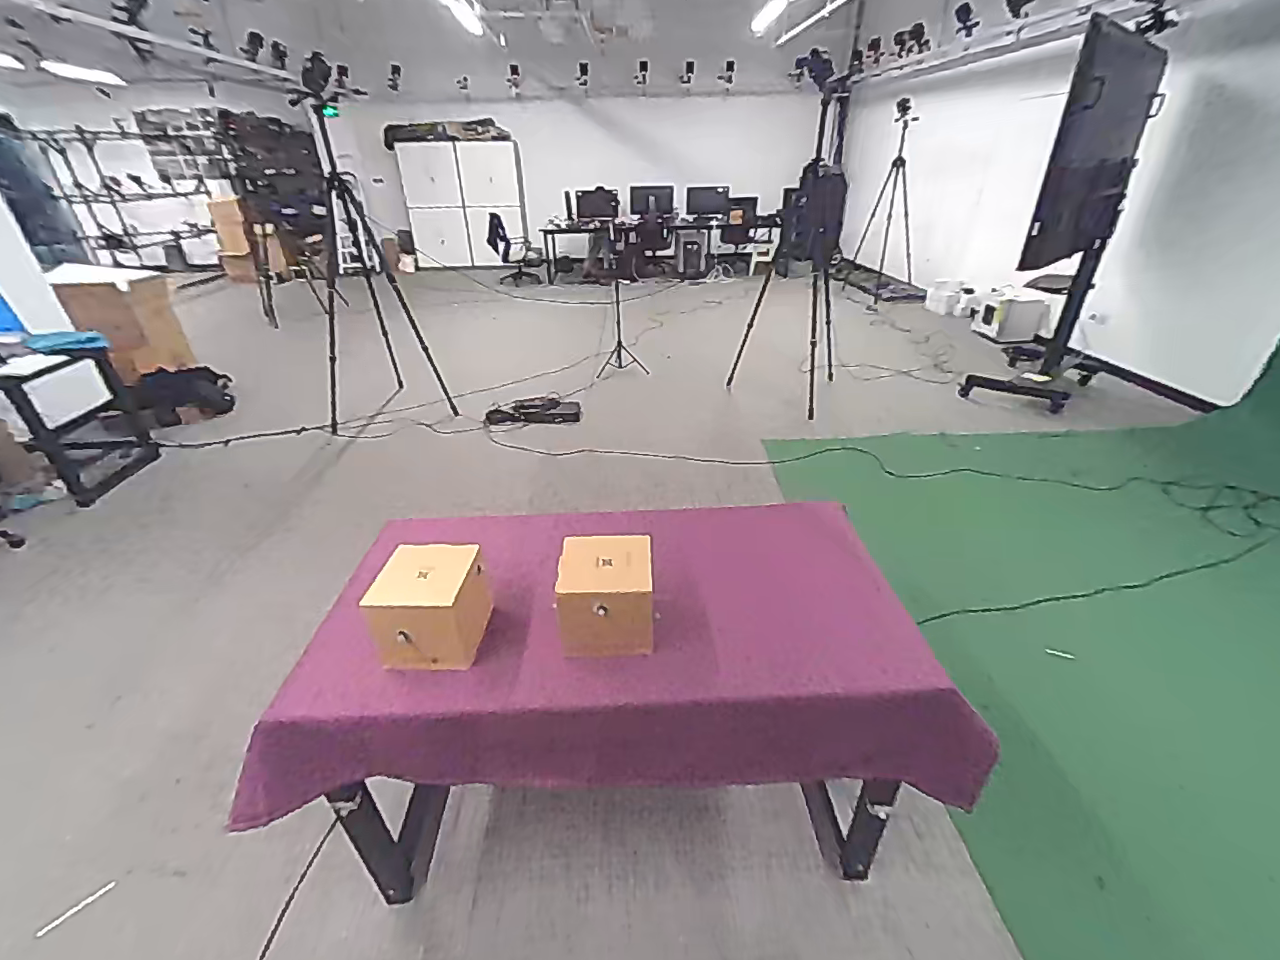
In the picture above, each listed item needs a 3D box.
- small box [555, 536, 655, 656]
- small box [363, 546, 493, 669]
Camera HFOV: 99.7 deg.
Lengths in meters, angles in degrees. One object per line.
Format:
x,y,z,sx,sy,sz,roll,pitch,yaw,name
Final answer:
-0.060,0.227,1.056,0.179,0.176,0.168,-1,31,1,small box
-0.394,0.246,1.045,0.168,0.176,0.179,-1,29,3,small box
